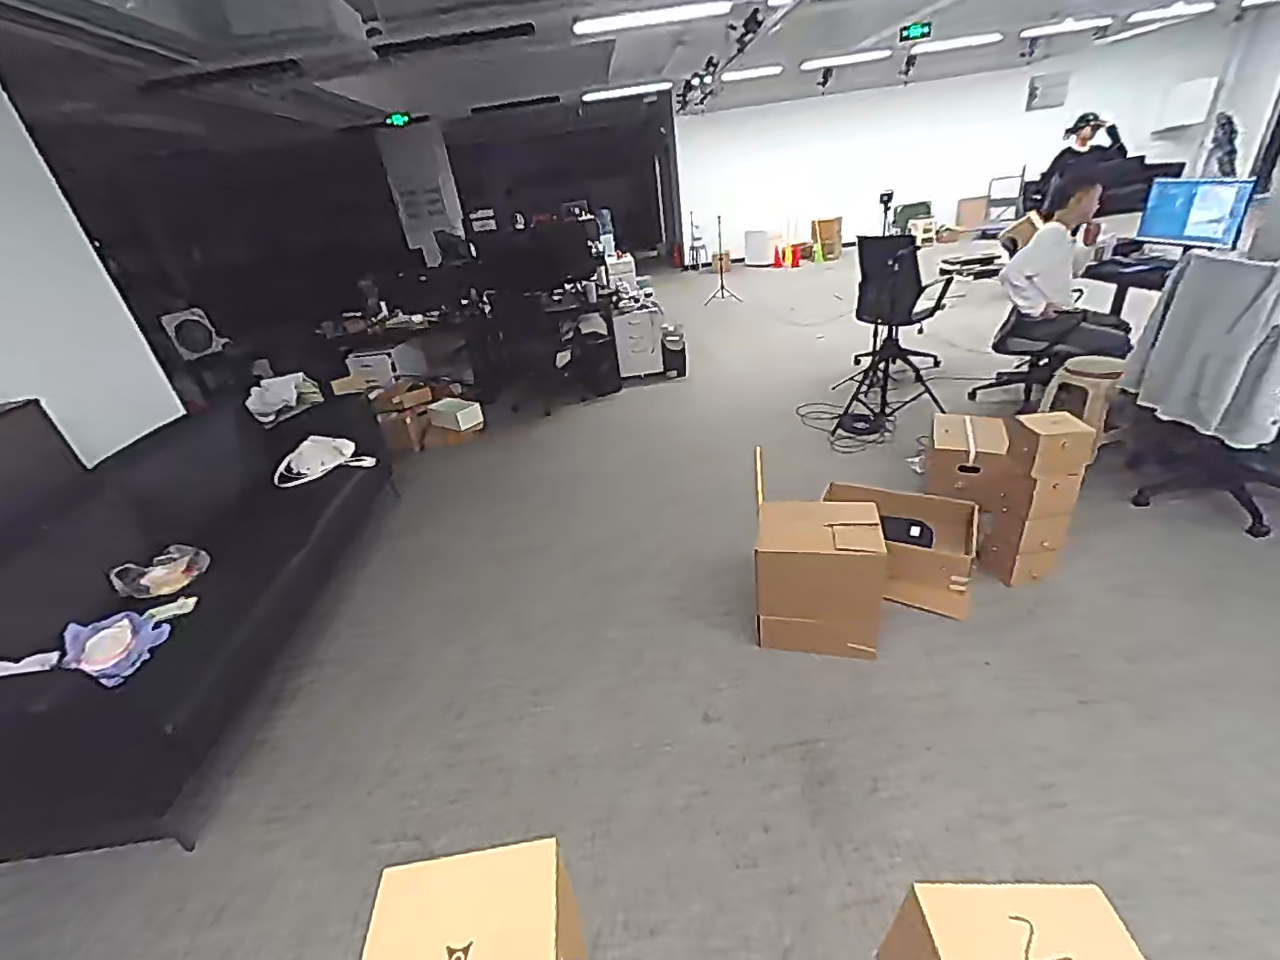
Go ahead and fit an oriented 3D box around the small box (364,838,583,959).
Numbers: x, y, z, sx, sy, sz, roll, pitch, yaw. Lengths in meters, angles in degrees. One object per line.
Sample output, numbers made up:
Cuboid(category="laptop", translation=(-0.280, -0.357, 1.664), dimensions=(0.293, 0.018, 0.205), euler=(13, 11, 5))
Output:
Cuboid(category="small box", translation=(-0.142, 0.466, 0.484), dimensions=(0.168, 0.176, 0.179), euler=(-8, 33, -4))
